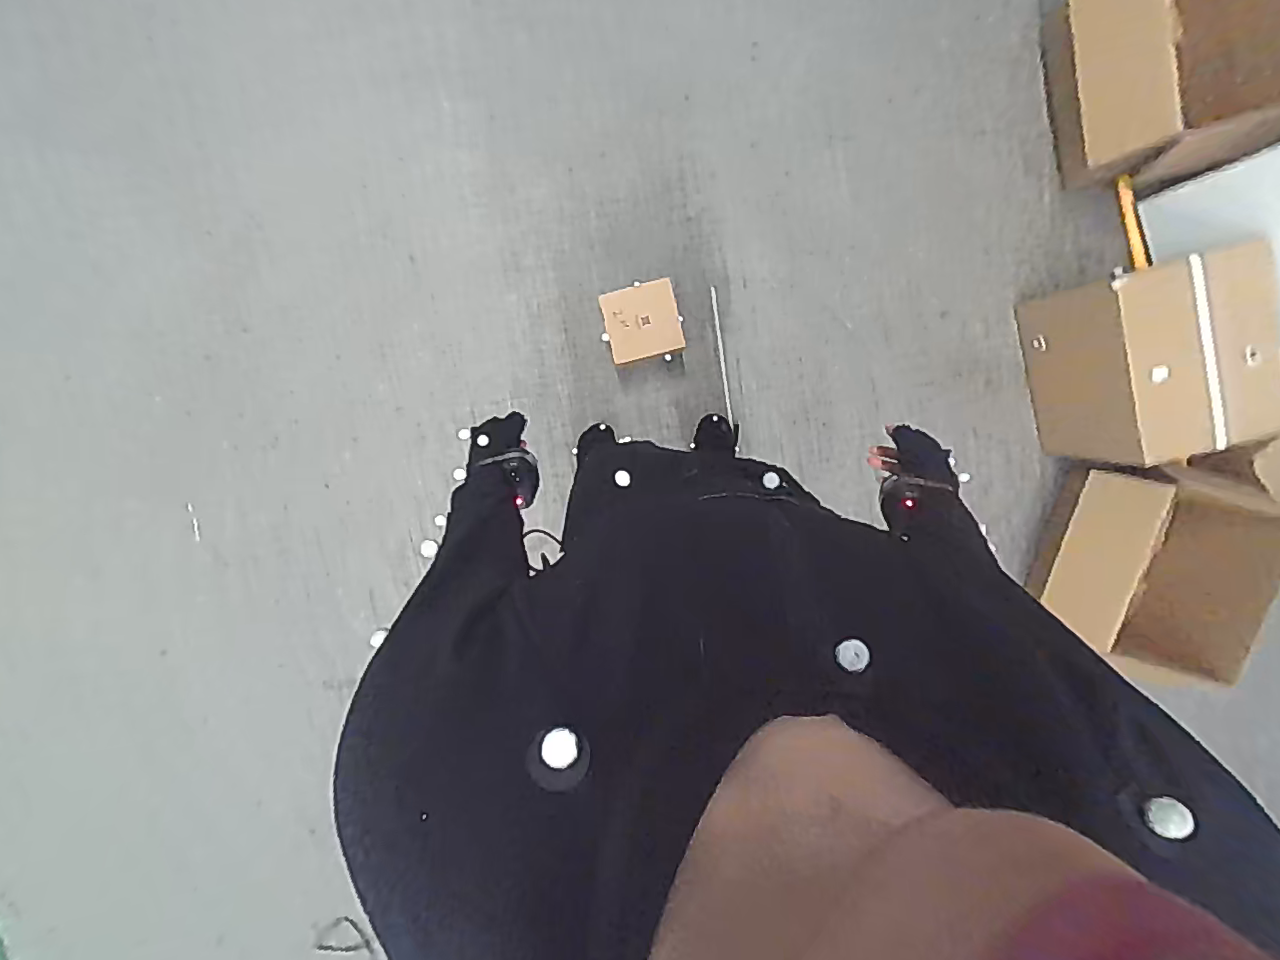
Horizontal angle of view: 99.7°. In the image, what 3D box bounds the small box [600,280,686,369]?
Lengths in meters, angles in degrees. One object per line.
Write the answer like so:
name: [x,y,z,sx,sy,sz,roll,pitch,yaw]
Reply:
small box: [0.007,-0.377,1.338,0.179,0.176,0.168,-13,97,2]
